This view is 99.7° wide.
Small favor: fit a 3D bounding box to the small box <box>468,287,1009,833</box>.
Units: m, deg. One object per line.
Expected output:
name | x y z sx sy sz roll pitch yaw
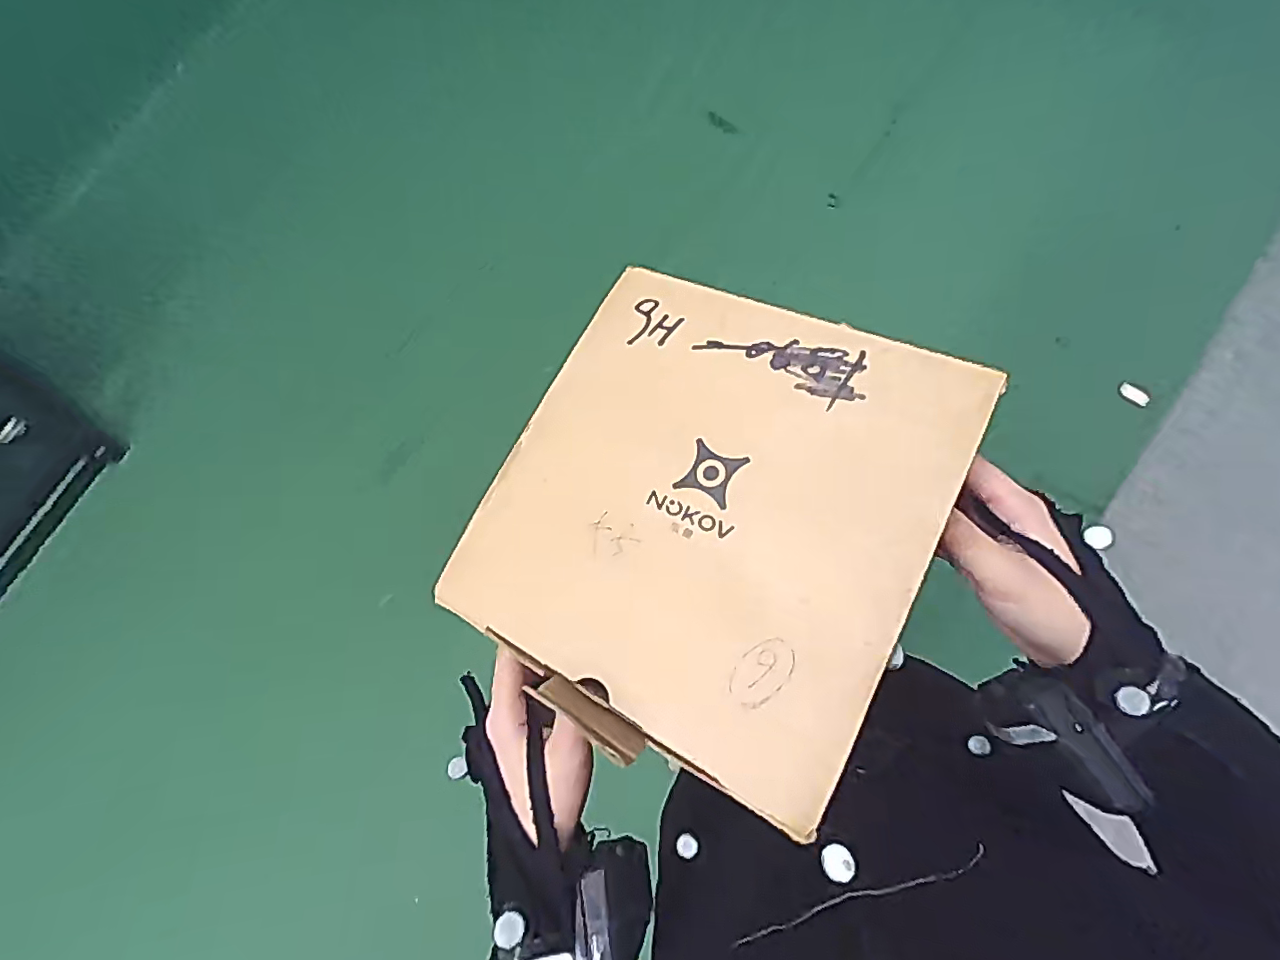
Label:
small box | 0.052 0.037 0.293 0.168 0.176 0.179 26 79 21
